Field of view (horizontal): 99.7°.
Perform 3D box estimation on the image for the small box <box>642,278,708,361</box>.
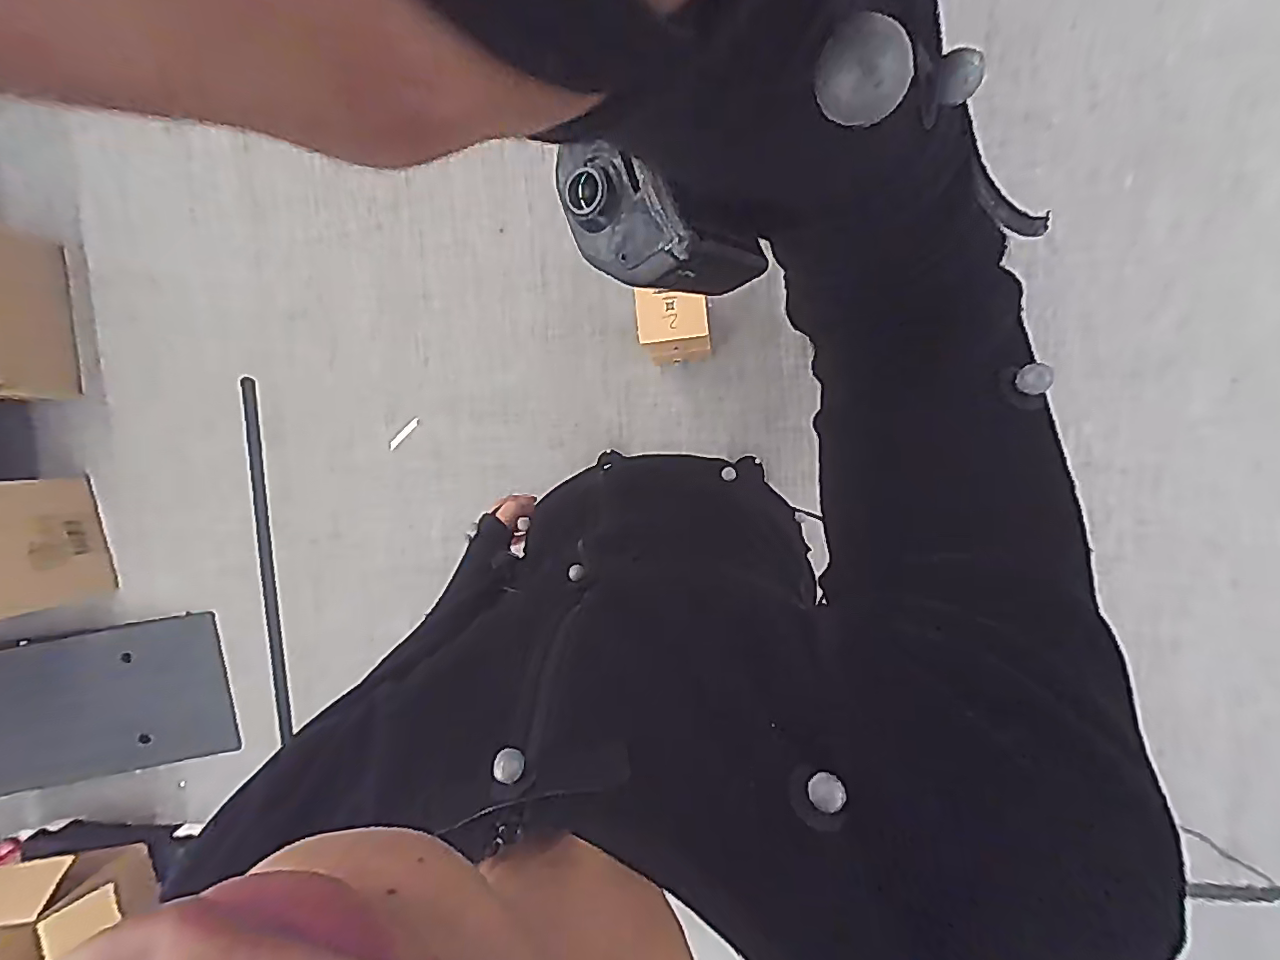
[{"bbox_3d":[0.099,-0.438,1.499,0.168,0.176,0.179,-5,93,8],"label":"small box"}]
